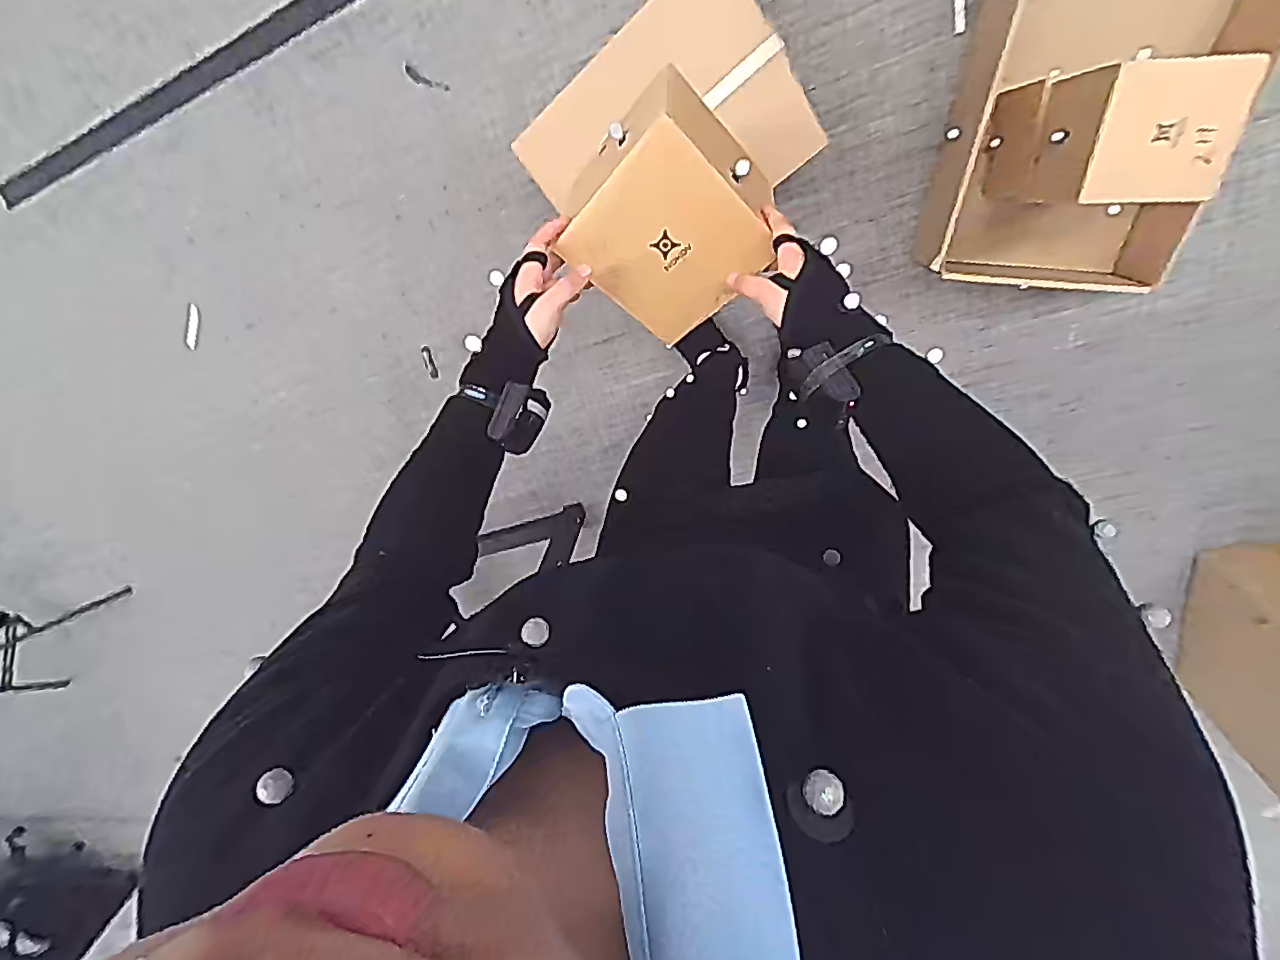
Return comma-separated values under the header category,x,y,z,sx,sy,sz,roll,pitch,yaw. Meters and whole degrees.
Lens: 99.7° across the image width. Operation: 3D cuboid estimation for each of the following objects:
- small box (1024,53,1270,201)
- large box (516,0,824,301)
category,x,y,z,sx,sy,sz,roll,pitch,yaw
small box,0.708,-0.500,0.787,0.179,0.176,0.168,2,119,6
large box,0.058,-0.607,0.980,0.408,0.320,0.320,-32,111,24
